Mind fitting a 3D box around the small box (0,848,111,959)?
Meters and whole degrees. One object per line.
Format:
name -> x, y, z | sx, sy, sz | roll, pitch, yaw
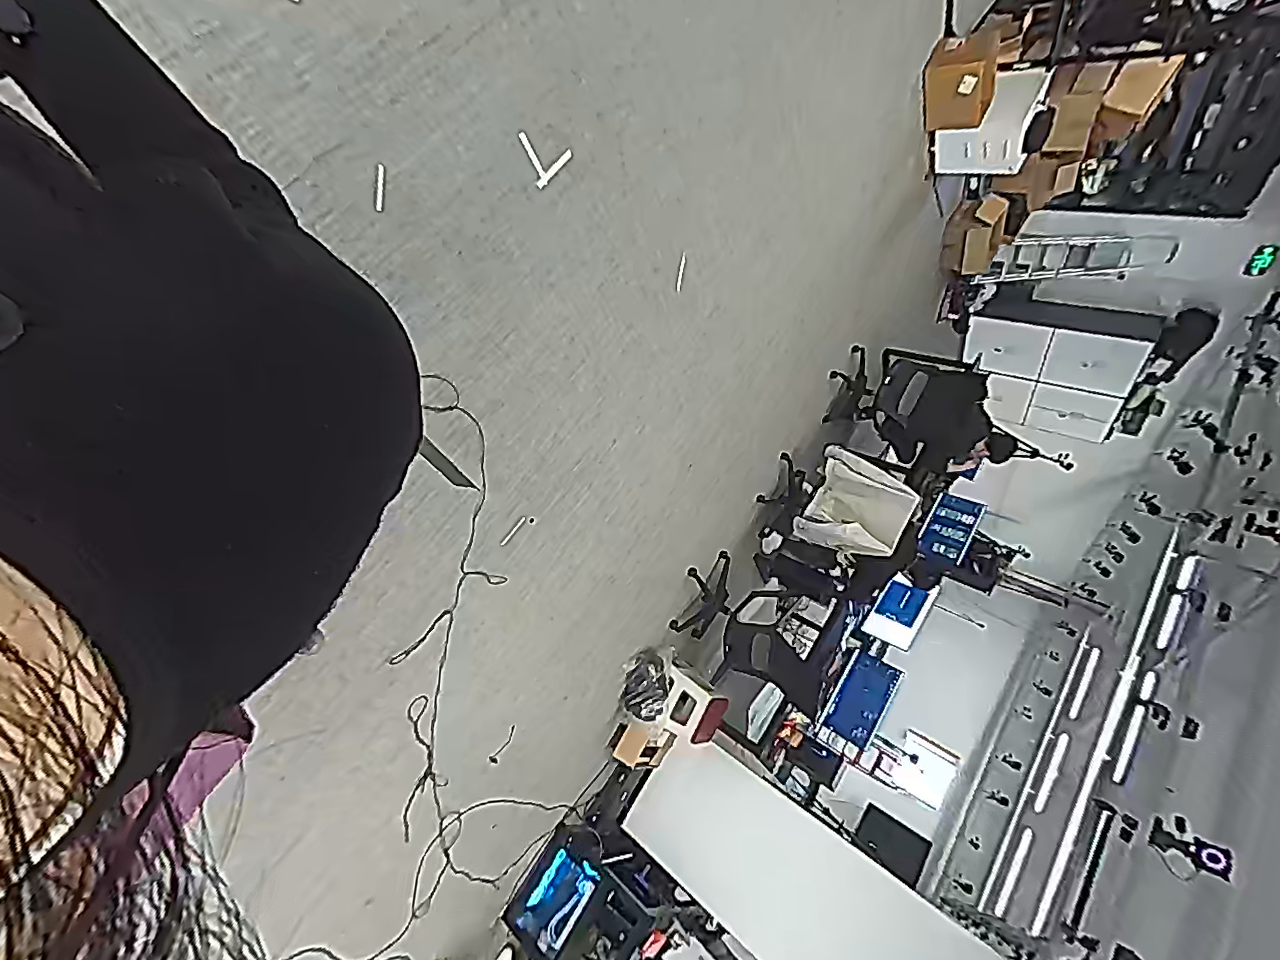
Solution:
small box -> -0.746, 0.532, 0.584 | 0.179, 0.176, 0.168 | -55, 144, -14
